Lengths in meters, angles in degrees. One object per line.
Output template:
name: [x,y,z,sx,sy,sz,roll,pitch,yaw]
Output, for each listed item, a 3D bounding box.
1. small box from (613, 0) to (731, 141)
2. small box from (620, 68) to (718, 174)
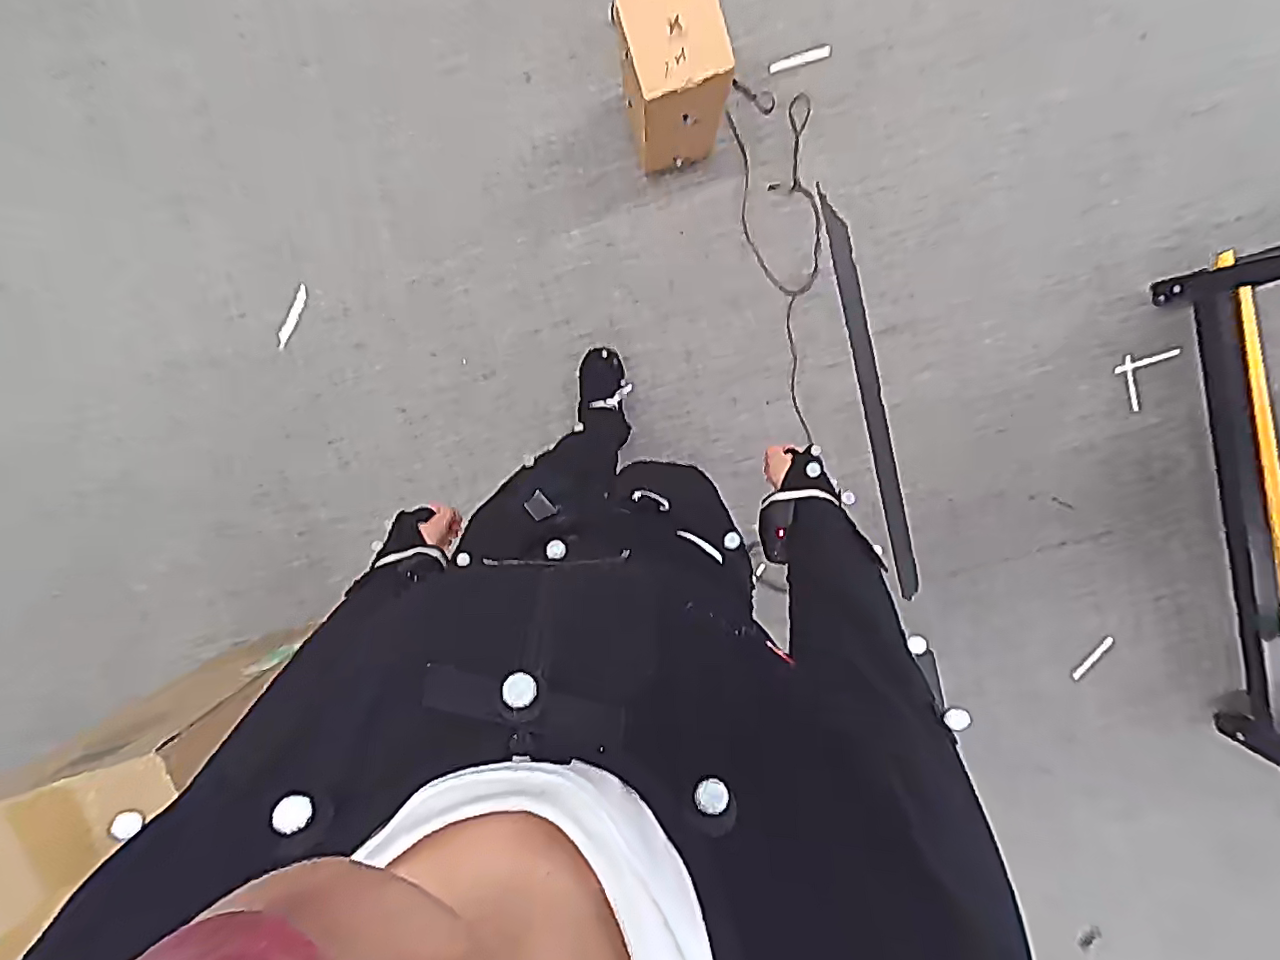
small box: [0.055,-0.769,0.990,0.168,0.176,0.179,-17,99,4]
small box: [0.056,-0.794,1.153,0.168,0.176,0.179,-16,99,3]
